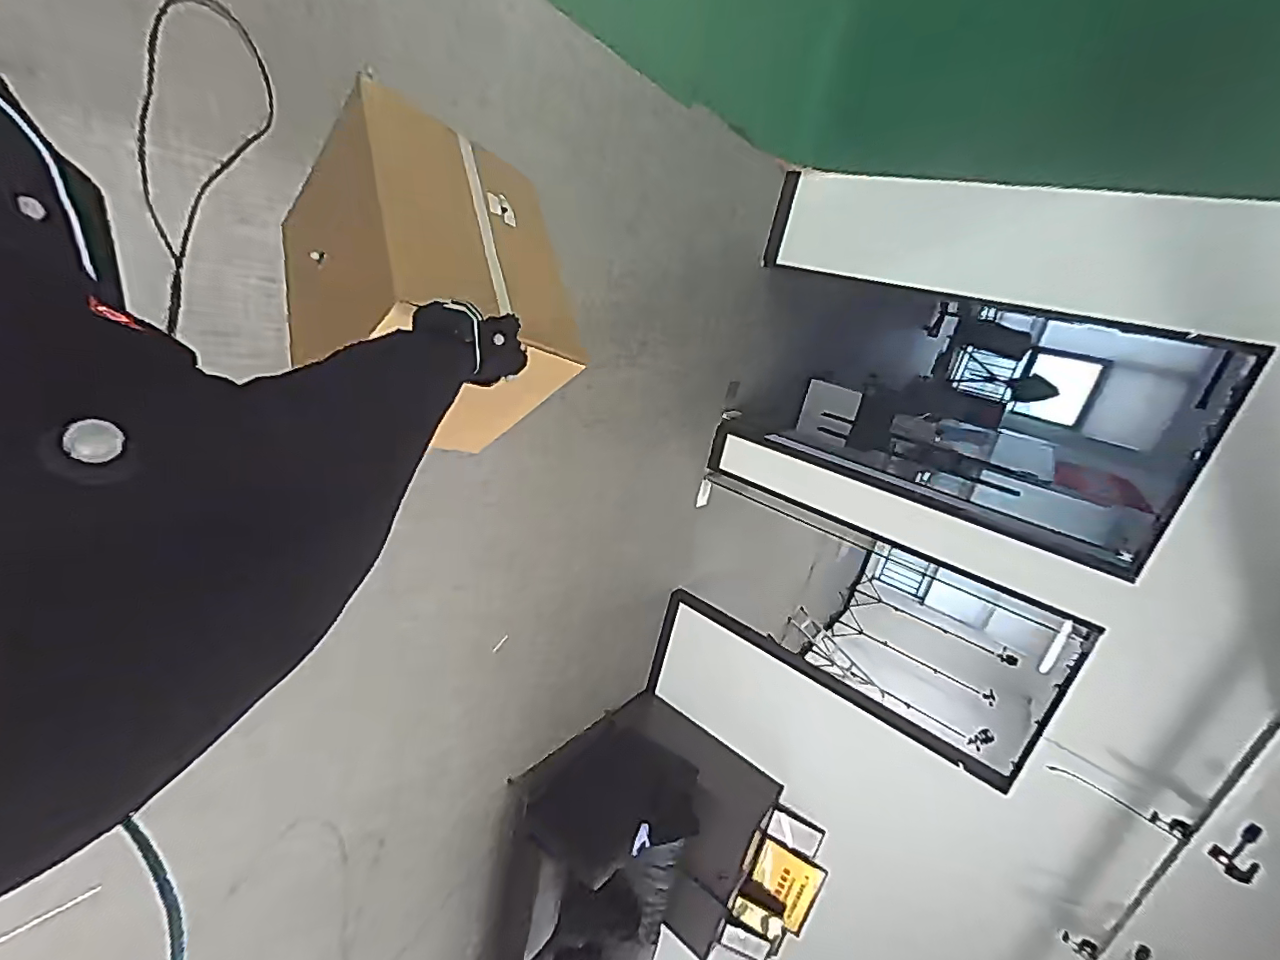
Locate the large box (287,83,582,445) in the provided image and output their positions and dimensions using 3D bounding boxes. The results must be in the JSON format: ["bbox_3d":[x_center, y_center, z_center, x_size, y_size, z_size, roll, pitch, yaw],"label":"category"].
[{"bbox_3d":[-0.353,-0.311,0.899,0.320,0.408,0.320,-31,157,33],"label":"large box"}]
